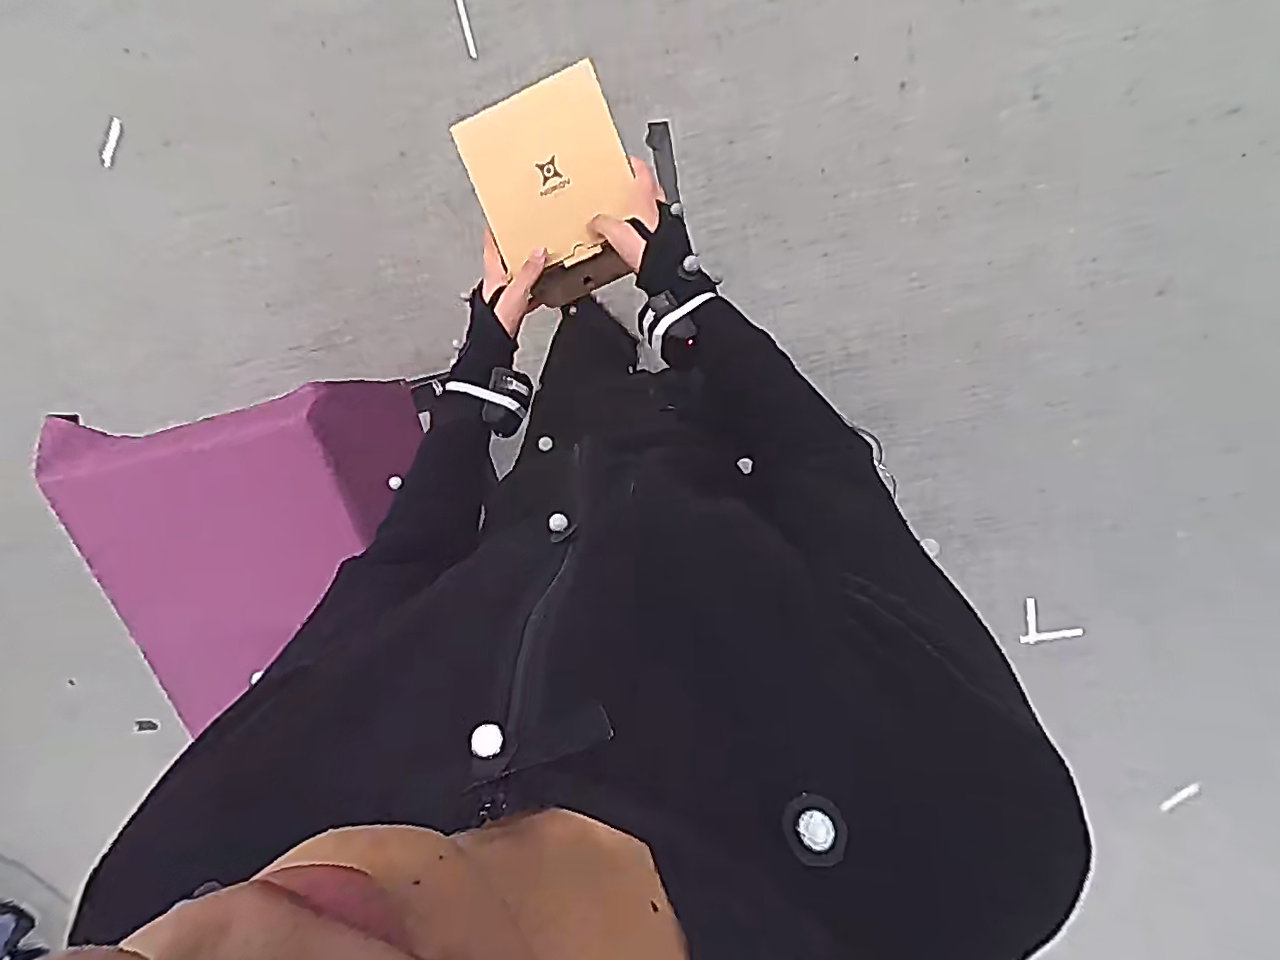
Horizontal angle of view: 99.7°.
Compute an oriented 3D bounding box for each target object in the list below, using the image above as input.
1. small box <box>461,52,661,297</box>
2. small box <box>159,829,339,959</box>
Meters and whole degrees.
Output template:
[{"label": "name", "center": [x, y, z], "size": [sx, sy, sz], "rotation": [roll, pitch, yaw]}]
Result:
[{"label": "small box", "center": [-0.080, -0.343, 0.649], "size": [0.168, 0.176, 0.179], "rotation": [-20, 97, 7]}, {"label": "small box", "center": [-0.684, 0.765, 0.976], "size": [0.179, 0.176, 0.168], "rotation": [-15, 107, 13]}]
